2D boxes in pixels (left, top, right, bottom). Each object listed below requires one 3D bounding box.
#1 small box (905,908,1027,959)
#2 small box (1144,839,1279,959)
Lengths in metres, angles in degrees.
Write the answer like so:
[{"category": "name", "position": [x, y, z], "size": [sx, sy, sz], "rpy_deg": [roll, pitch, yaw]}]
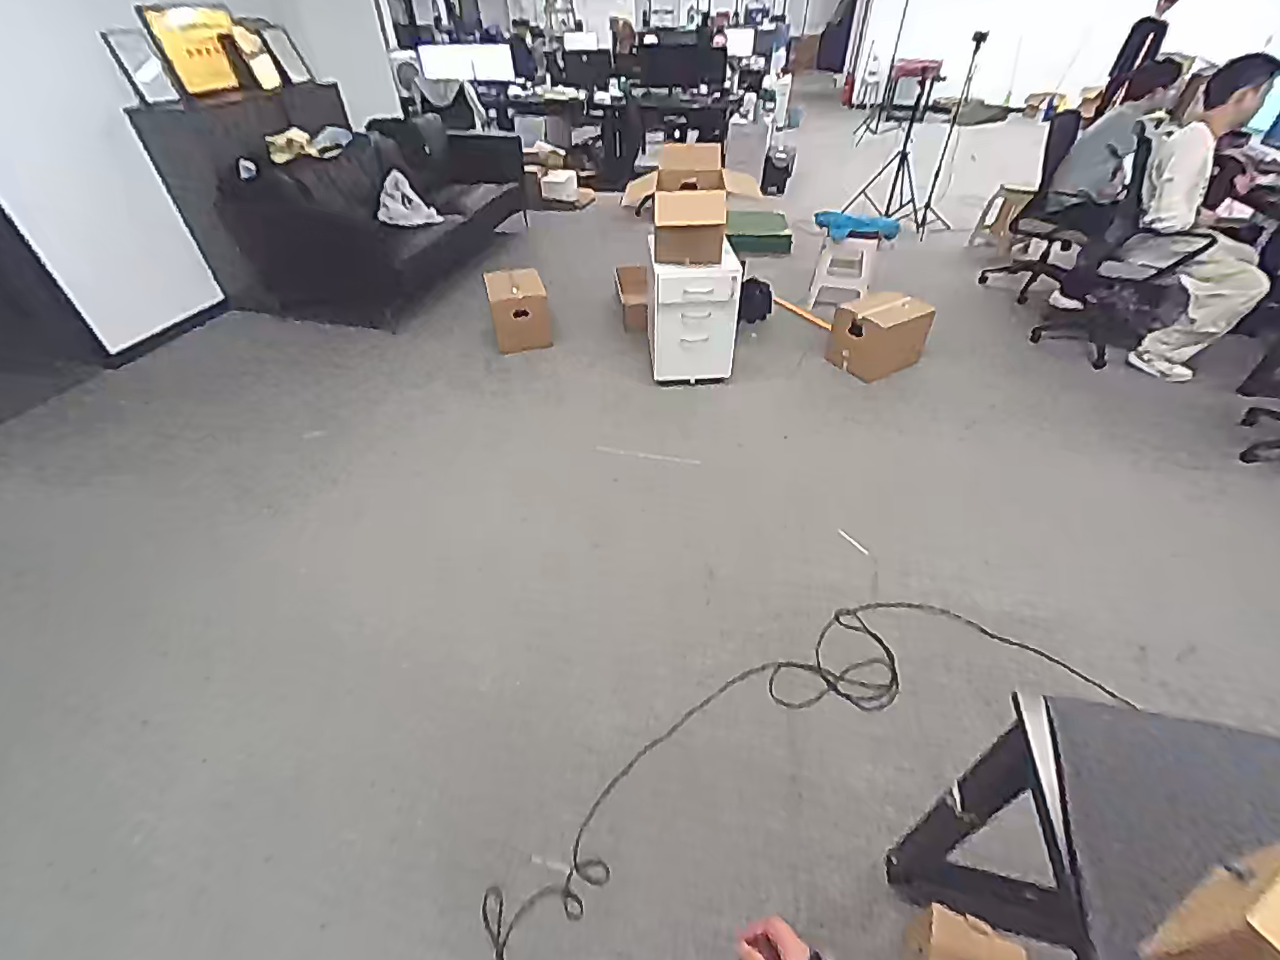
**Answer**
[{"category": "small box", "position": [0.607, 0.969, 1.022], "size": [0.168, 0.176, 0.179], "rpy_deg": [18, 43, 20]}, {"category": "small box", "position": [0.634, 0.464, 0.493], "size": [0.168, 0.176, 0.179], "rpy_deg": [-19, 44, -21]}]
